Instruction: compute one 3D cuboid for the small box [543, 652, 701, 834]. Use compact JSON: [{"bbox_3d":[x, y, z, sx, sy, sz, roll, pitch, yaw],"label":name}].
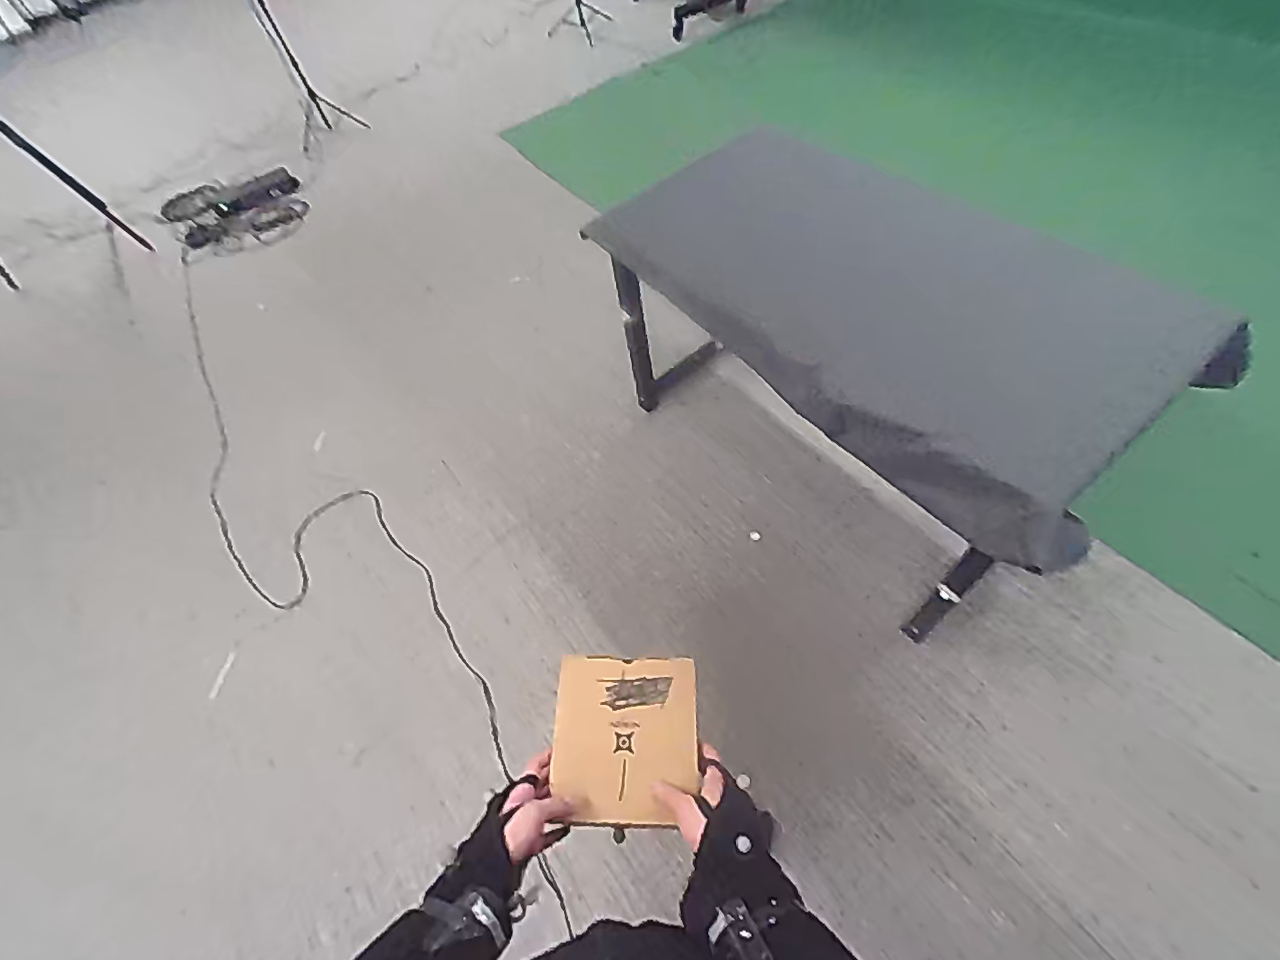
[{"bbox_3d":[-0.017,0.326,0.666,0.168,0.176,0.179,1,56,1],"label":"small box"}]
